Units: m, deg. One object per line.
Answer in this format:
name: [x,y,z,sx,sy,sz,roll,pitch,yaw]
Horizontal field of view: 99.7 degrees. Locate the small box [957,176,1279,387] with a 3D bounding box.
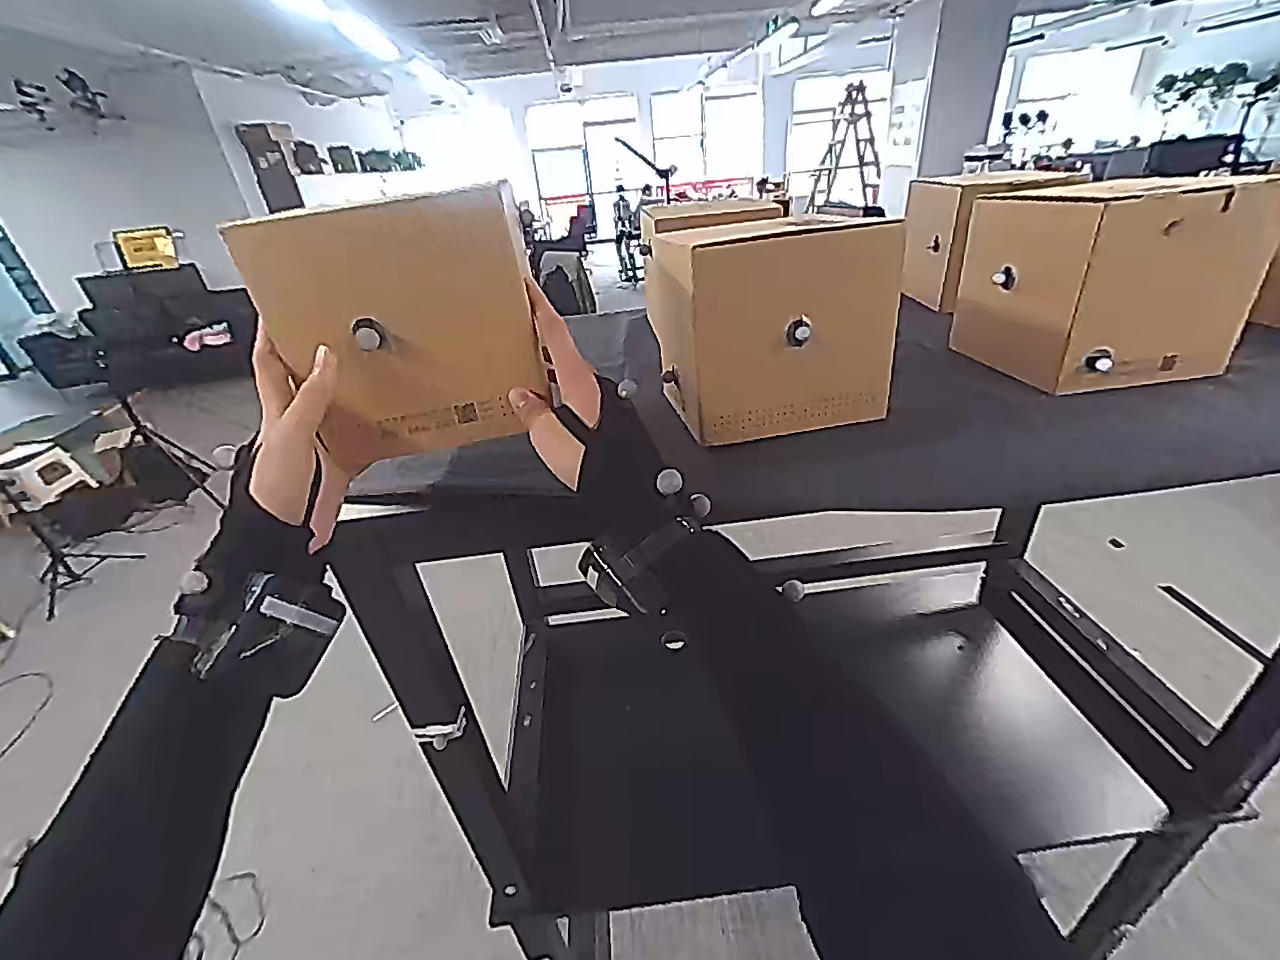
small box: [0.454,-0.197,0.541,0.168,0.176,0.179,-7,28,-1]

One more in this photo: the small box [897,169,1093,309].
small box: [0.508,-0.356,0.806,0.168,0.176,0.179,-3,30,3]

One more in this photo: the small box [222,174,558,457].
small box: [-0.164,-0.129,0.426,0.168,0.176,0.179,-12,32,-4]

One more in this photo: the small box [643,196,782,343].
small box: [0.099,-0.303,0.784,0.168,0.176,0.179,-7,31,-3]
